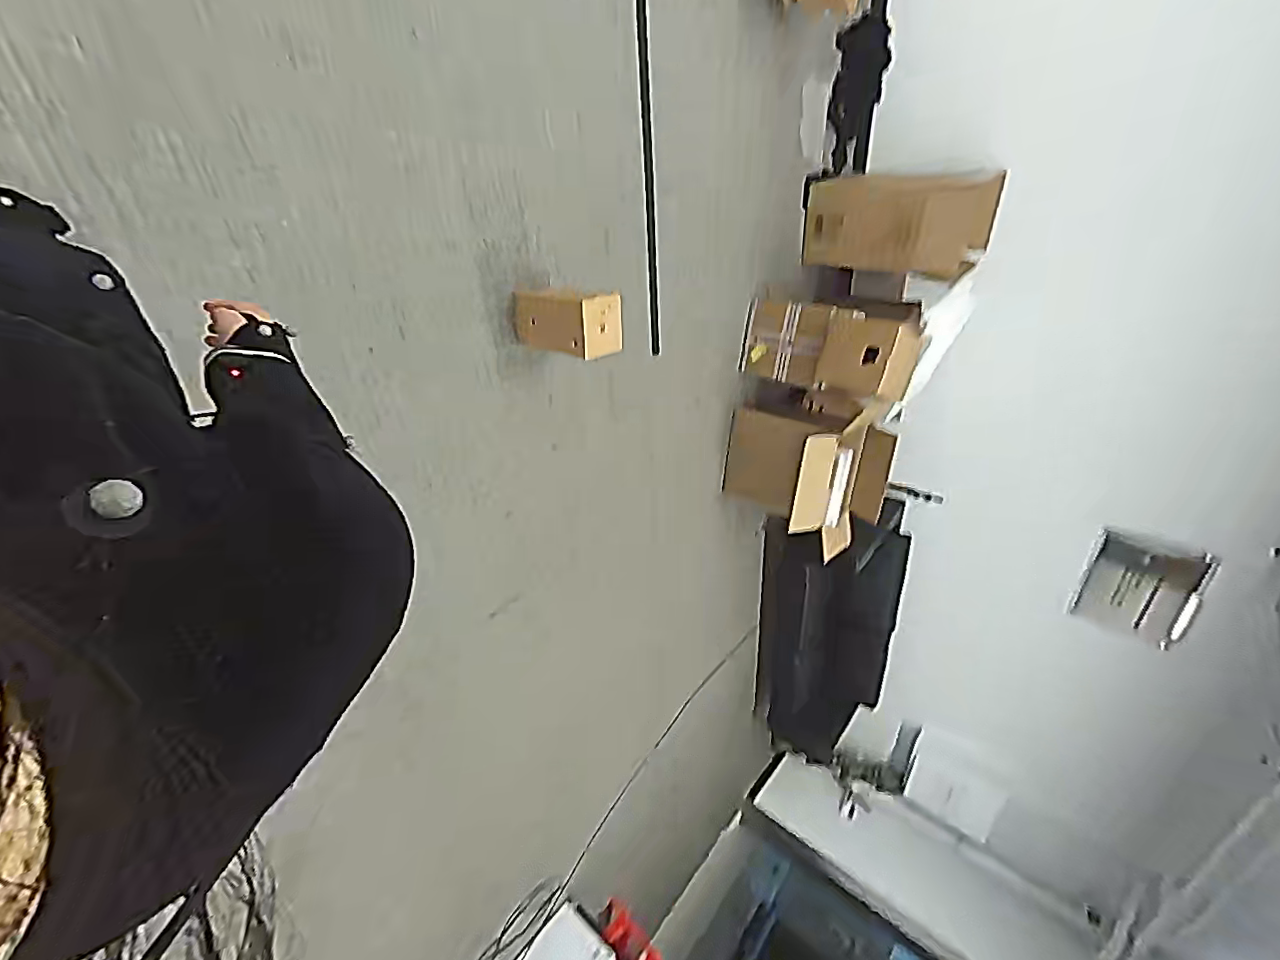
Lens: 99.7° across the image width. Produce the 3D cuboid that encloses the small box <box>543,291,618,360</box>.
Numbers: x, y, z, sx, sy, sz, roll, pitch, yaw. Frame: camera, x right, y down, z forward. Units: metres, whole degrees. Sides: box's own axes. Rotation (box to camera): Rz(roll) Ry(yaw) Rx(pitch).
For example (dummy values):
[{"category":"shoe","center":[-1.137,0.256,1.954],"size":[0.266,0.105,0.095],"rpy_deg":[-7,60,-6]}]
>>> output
[{"category":"small box","center":[-0.186,-0.489,1.695],"size":[0.168,0.176,0.179],"rpy_deg":[-28,127,-43]}]
